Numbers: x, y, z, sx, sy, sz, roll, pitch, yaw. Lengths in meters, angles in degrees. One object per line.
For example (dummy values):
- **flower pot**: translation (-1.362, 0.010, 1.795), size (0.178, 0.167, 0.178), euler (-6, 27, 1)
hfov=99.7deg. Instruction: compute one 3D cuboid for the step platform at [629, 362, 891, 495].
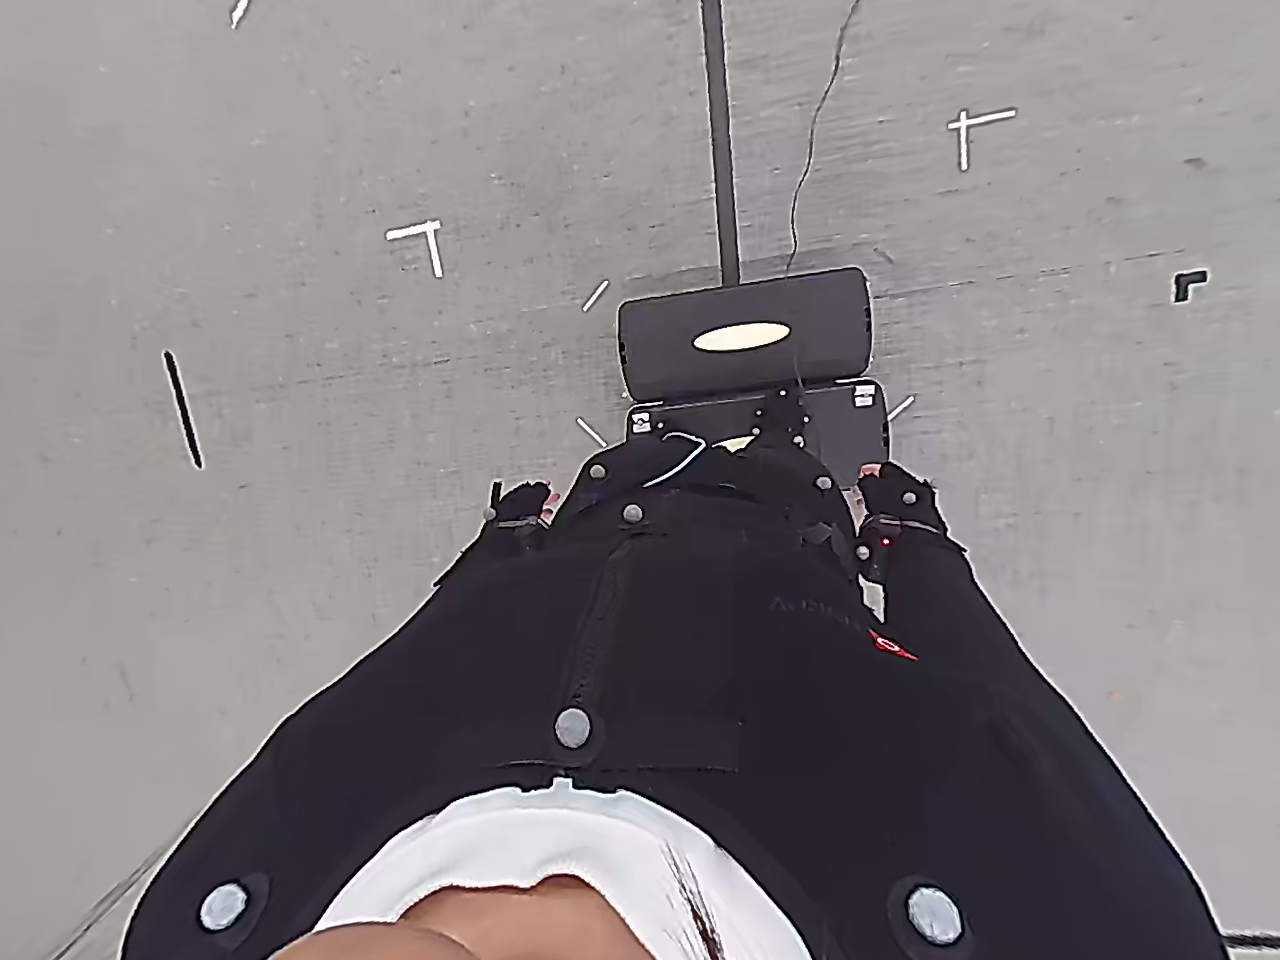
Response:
- **step platform**: translation (0.313, -0.136, 1.480), size (0.684, 0.204, 0.286), euler (-7, 99, 10)
